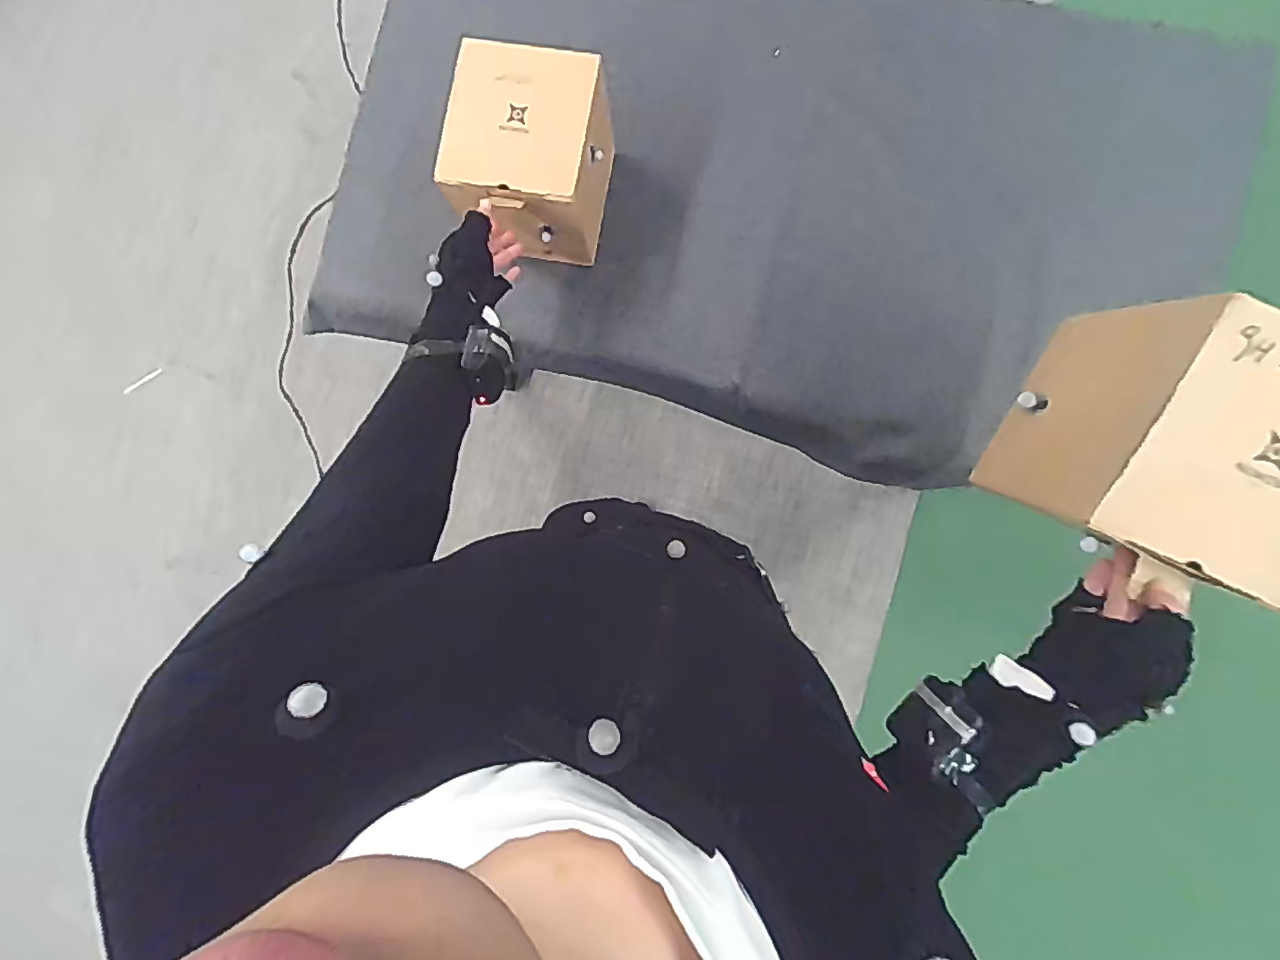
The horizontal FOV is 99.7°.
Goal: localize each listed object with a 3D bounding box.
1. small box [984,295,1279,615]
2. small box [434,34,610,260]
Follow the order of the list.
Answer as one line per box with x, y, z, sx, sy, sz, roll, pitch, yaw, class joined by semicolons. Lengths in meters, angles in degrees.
0.430;-0.027;0.448;0.168;0.176;0.179;25;103;-1;small box
-0.136;-0.408;0.690;0.168;0.176;0.179;10;86;3;small box
